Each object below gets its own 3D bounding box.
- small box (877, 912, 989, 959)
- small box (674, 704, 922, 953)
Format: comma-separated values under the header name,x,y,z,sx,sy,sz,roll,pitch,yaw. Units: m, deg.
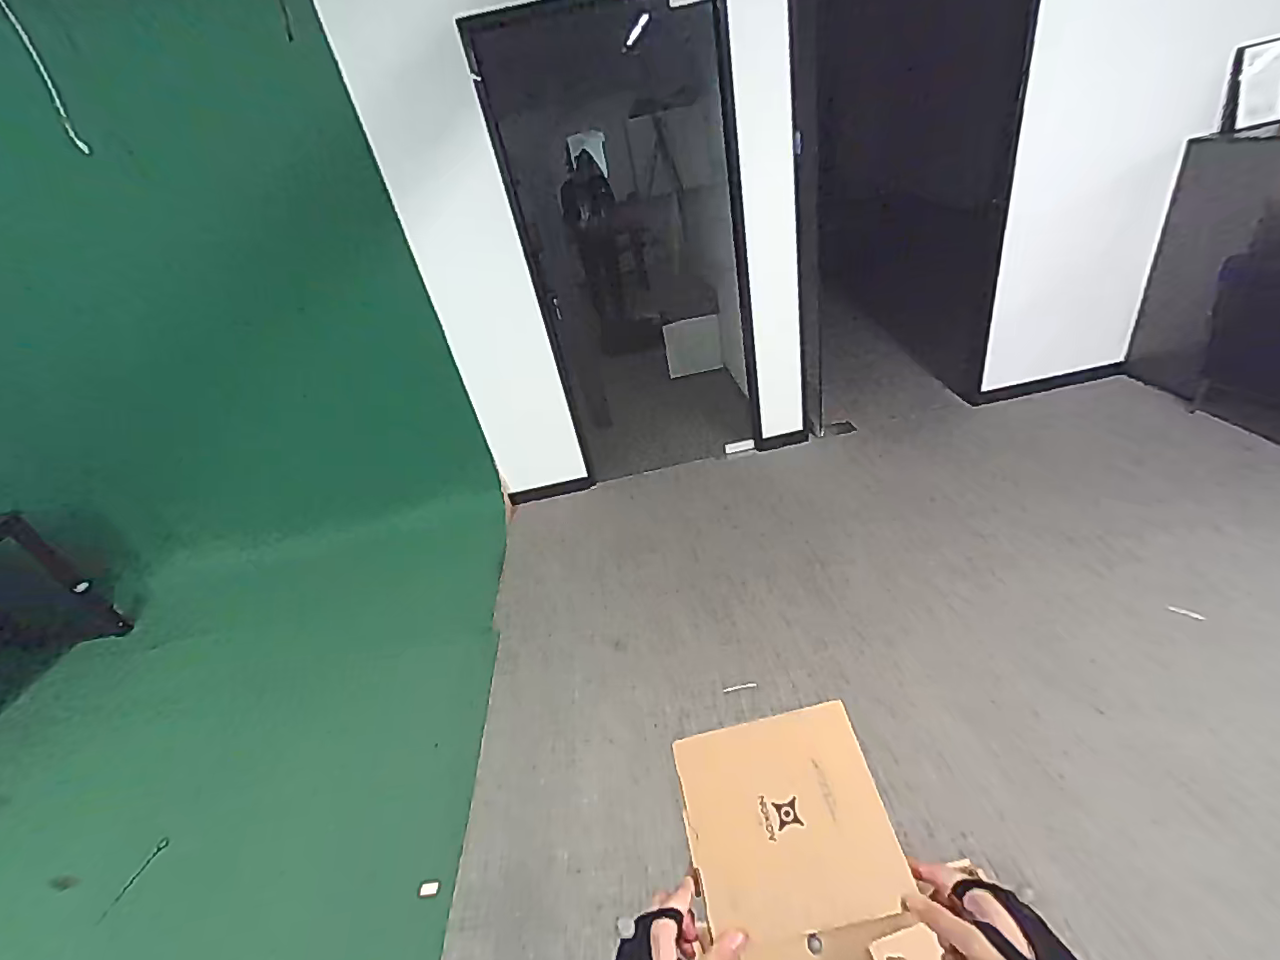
name,x,y,z,sx,sy,sz,roll,pitch,yaw
small box,0.567,0.960,1.007,0.179,0.176,0.168,-17,33,-5
small box,0.149,0.352,0.545,0.179,0.176,0.168,-16,51,3
